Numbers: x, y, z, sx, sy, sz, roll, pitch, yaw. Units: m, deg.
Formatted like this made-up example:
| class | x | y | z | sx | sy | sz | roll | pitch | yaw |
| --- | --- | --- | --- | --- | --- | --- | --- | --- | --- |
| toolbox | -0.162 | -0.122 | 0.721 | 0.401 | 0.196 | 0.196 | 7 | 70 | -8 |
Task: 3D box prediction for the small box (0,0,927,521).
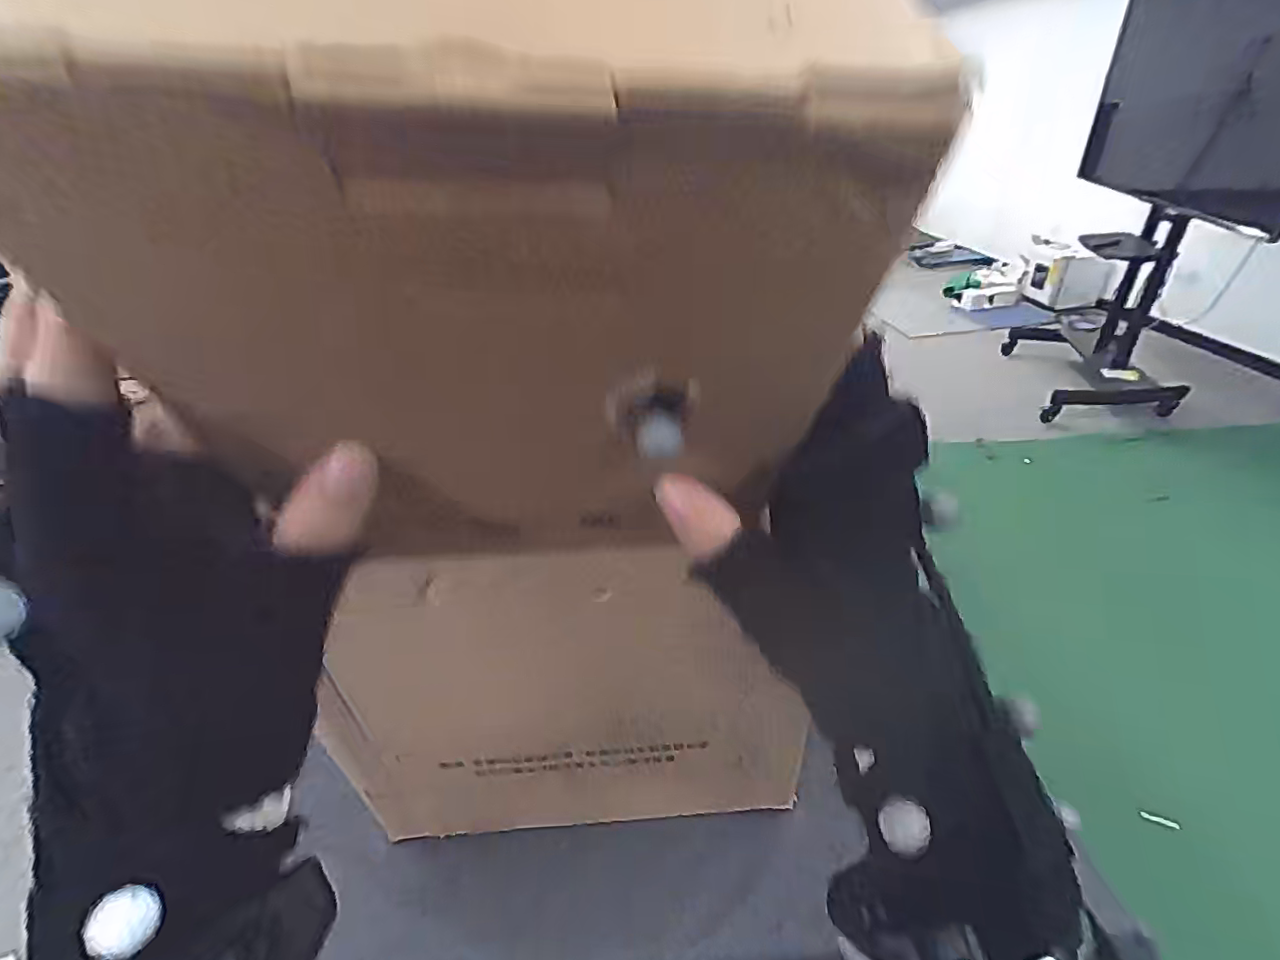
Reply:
| class | x | y | z | sx | sy | sz | roll | pitch | yaw |
| --- | --- | --- | --- | --- | --- | --- | --- | --- | --- |
| small box | -0.043 | -0.094 | 0.193 | 0.168 | 0.176 | 0.179 | -1 | 58 | -6 |
